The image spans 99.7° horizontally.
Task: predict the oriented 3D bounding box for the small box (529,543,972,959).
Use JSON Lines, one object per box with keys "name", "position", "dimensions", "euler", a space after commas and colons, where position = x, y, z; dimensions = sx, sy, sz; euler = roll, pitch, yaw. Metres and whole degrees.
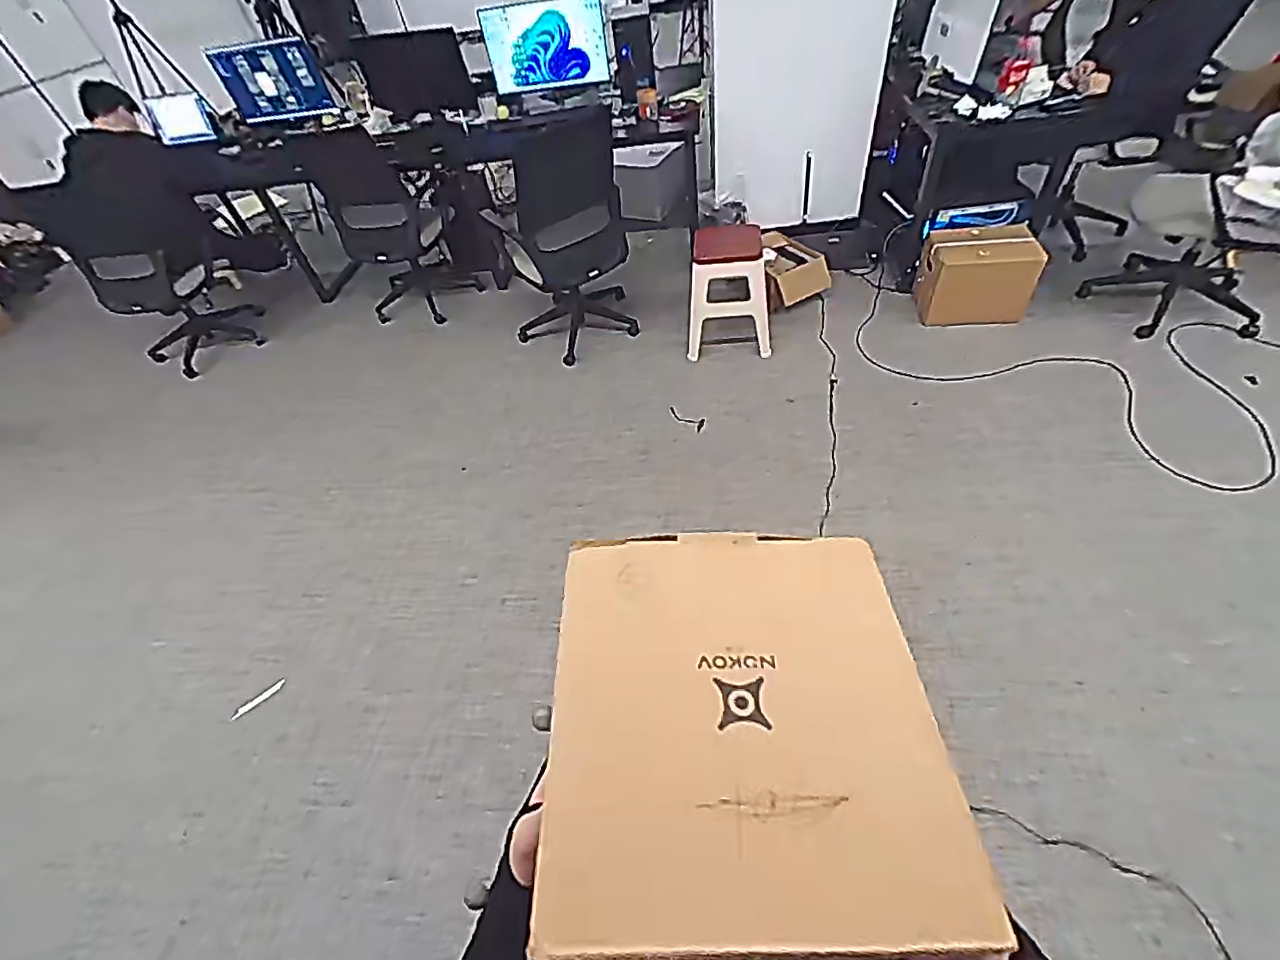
{"name": "small box", "position": [0.039, 0.155, 0.311], "dimensions": [0.168, 0.176, 0.179], "euler": [0, 47, -1]}
